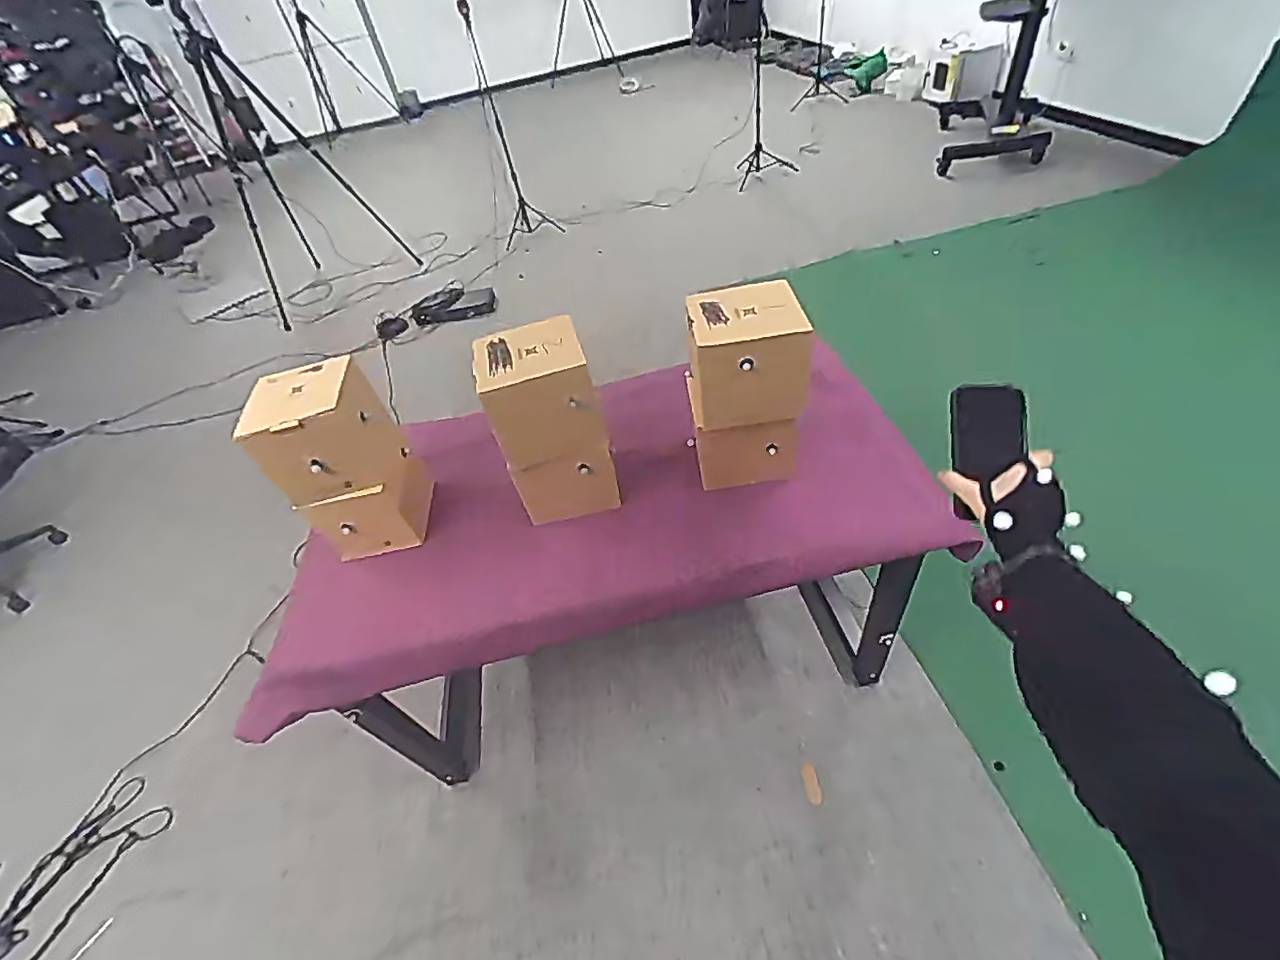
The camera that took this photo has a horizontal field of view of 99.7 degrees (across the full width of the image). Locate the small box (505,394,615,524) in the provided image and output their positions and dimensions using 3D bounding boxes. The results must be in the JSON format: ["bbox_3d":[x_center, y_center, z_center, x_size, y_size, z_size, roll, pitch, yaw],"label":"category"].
[{"bbox_3d":[-0.149,-0.038,1.051,0.179,0.176,0.168,-12,45,1],"label":"small box"}]

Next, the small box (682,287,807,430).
[{"bbox_3d":[0.172,-0.200,0.913,0.179,0.176,0.168,-7,45,4],"label":"small box"}]

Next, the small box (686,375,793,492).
[{"bbox_3d":[0.186,-0.097,1.040,0.179,0.176,0.168,-8,45,6],"label":"small box"}]

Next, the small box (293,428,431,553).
[{"bbox_3d":[-0.534,0.029,1.070,0.168,0.176,0.179,-11,45,1],"label":"small box"}]

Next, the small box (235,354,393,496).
[{"bbox_3d":[-0.560,-0.090,0.959,0.168,0.176,0.179,-15,46,-3],"label":"small box"}]
